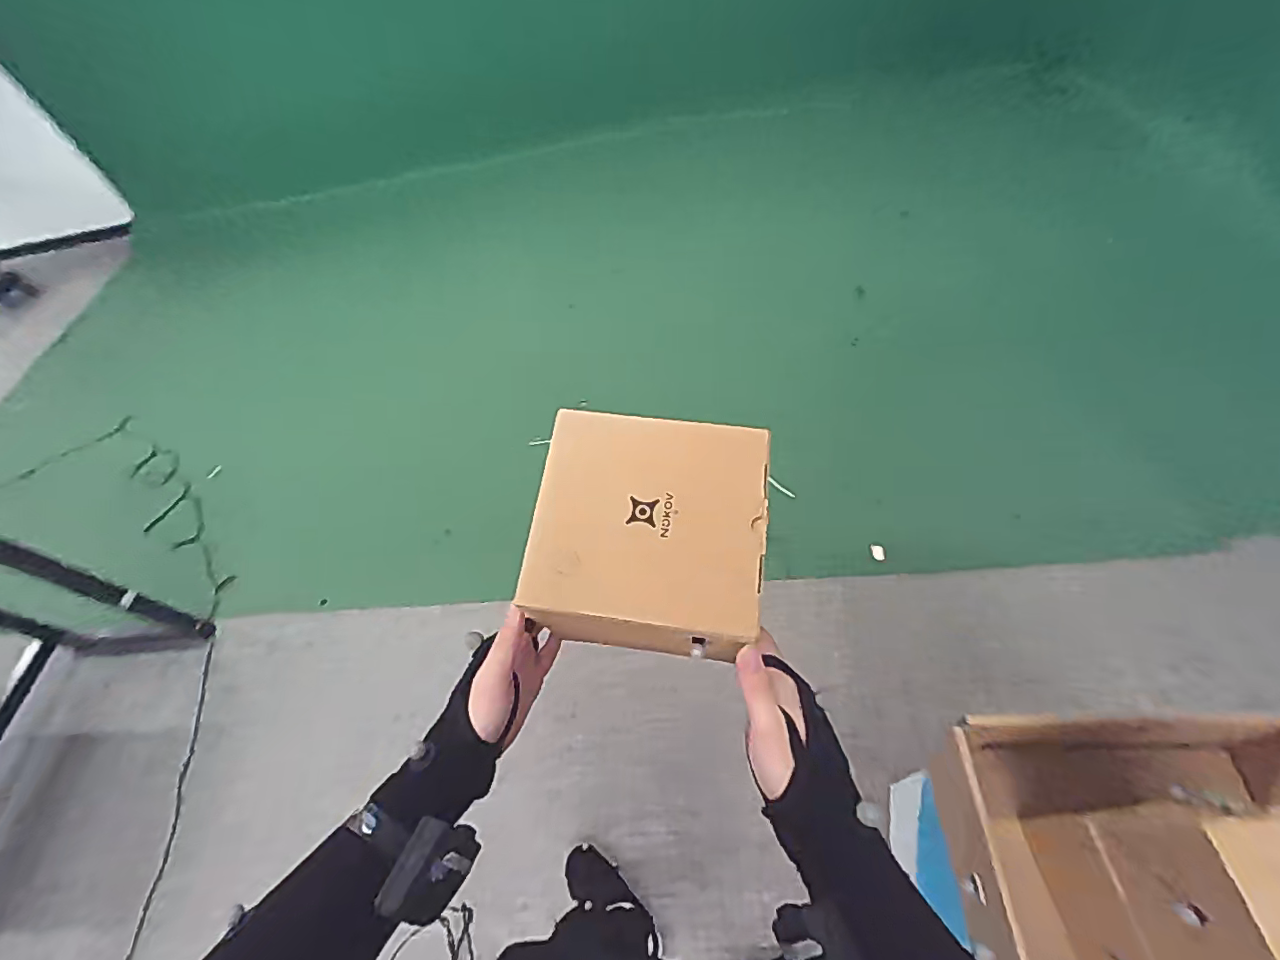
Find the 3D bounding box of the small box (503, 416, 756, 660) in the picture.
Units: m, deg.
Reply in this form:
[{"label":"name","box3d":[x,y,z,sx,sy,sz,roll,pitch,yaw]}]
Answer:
[{"label":"small box","box3d":[0.001,0.061,0.482,0.179,0.176,0.168,6,67,5]}]

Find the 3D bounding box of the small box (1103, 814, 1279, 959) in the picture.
[{"label":"small box","box3d":[0.566,0.395,0.467,0.168,0.176,0.179,-8,56,5]}]
